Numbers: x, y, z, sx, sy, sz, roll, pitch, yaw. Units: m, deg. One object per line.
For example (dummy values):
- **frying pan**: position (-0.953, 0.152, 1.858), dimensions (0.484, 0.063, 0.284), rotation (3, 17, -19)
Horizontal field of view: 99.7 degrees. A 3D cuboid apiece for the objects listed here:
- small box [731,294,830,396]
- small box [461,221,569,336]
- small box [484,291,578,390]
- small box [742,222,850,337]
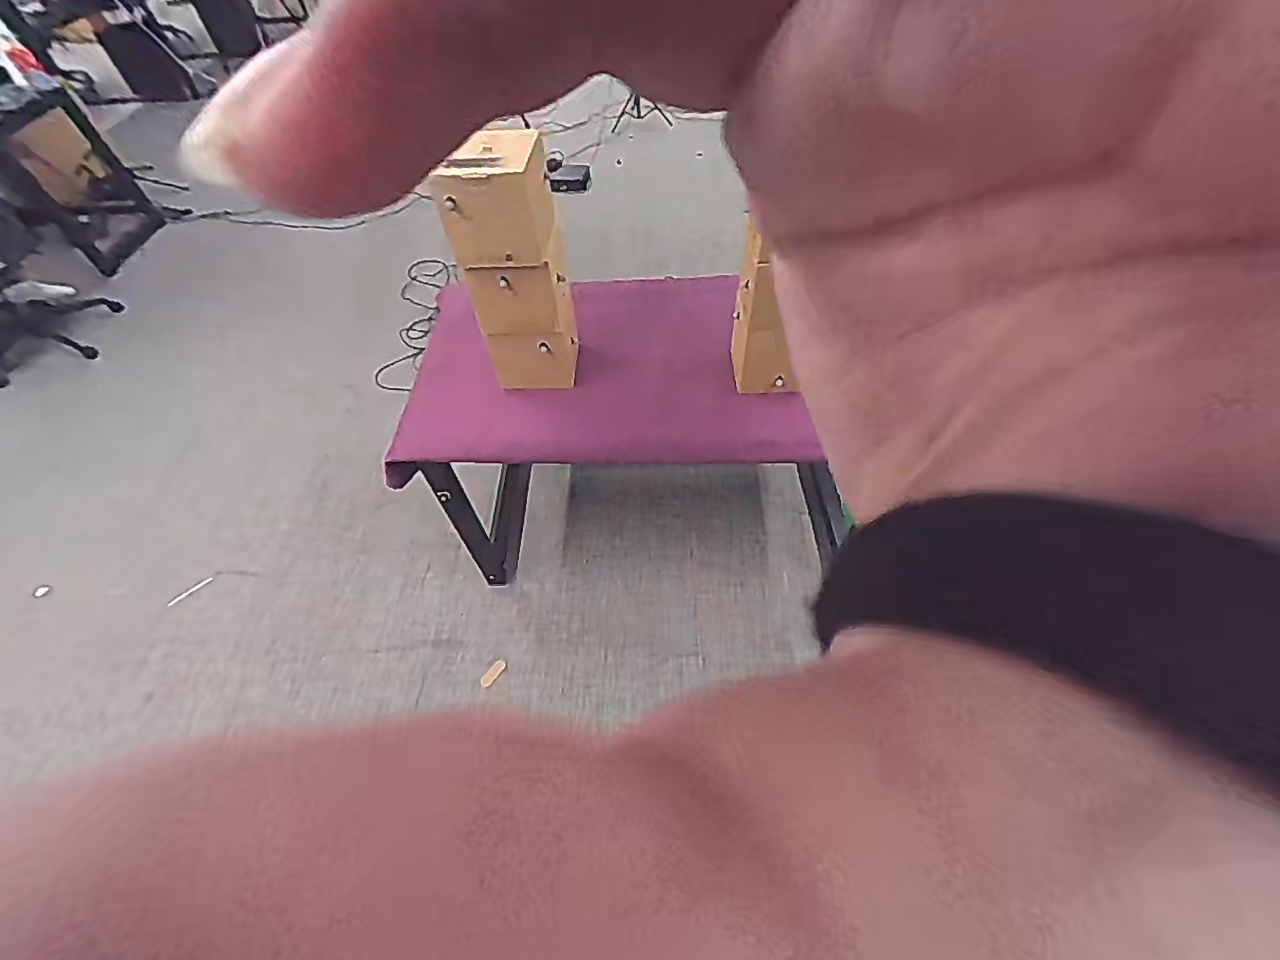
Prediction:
- **small box**: position (0.309, -0.305, 1.225), dimensions (0.179, 0.176, 0.168), rotation (-1, 53, 2)
- **small box**: position (-0.250, -0.419, 1.135), dimensions (0.179, 0.176, 0.168), rotation (0, 54, 3)
- **small box**: position (-0.244, -0.324, 1.266), dimensions (0.179, 0.176, 0.168), rotation (0, 53, 2)
- **small box**: position (0.303, -0.404, 1.095), dimensions (0.179, 0.176, 0.168), rotation (0, 54, 3)
